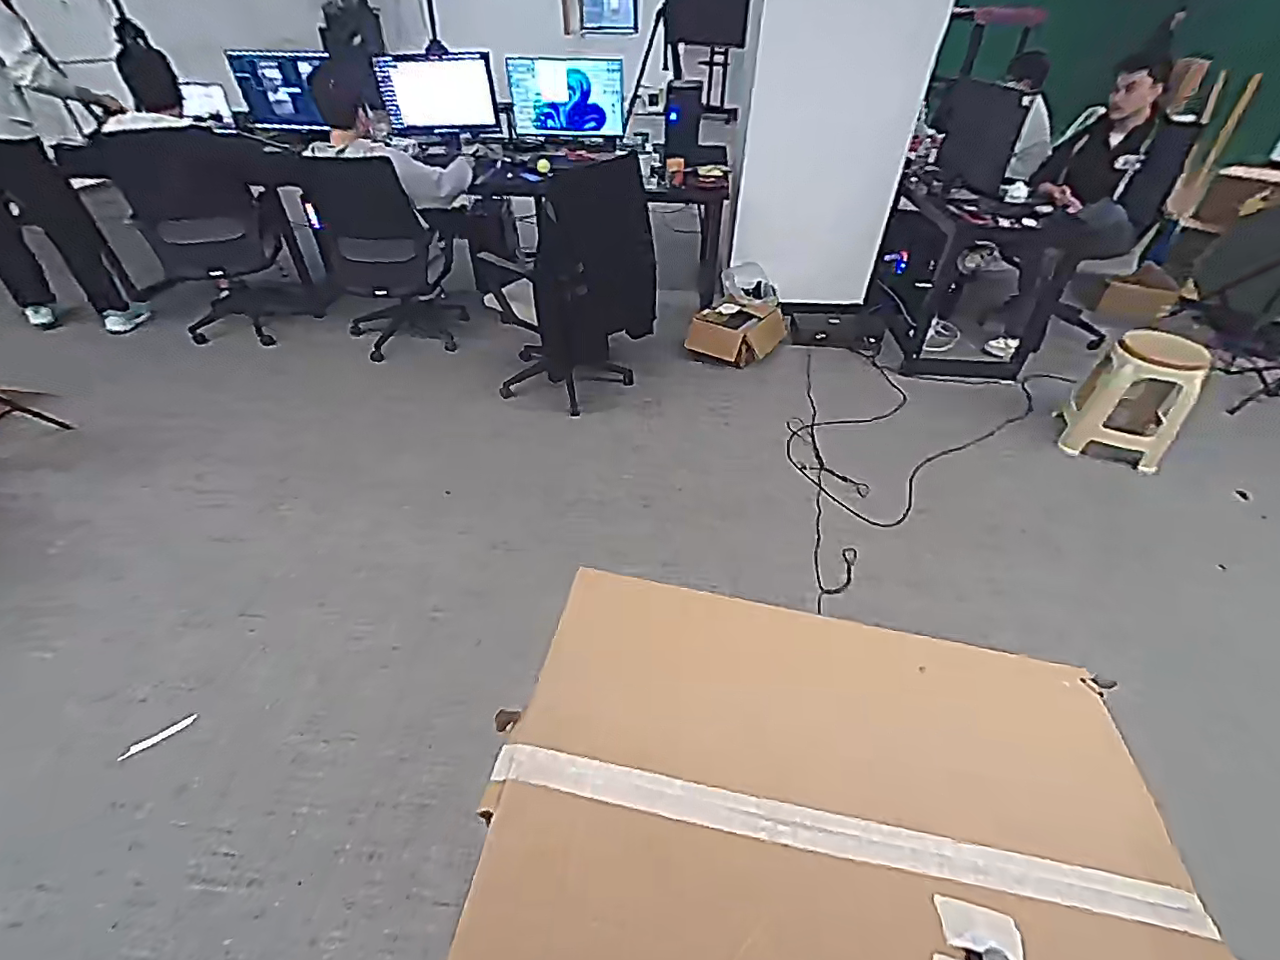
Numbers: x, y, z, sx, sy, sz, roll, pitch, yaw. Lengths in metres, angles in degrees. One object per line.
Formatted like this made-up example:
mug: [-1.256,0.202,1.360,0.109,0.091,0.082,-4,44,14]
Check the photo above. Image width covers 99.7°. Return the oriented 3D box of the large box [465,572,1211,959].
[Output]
large box: [0.105,0.320,0.427,0.408,0.320,0.320,12,43,3]
